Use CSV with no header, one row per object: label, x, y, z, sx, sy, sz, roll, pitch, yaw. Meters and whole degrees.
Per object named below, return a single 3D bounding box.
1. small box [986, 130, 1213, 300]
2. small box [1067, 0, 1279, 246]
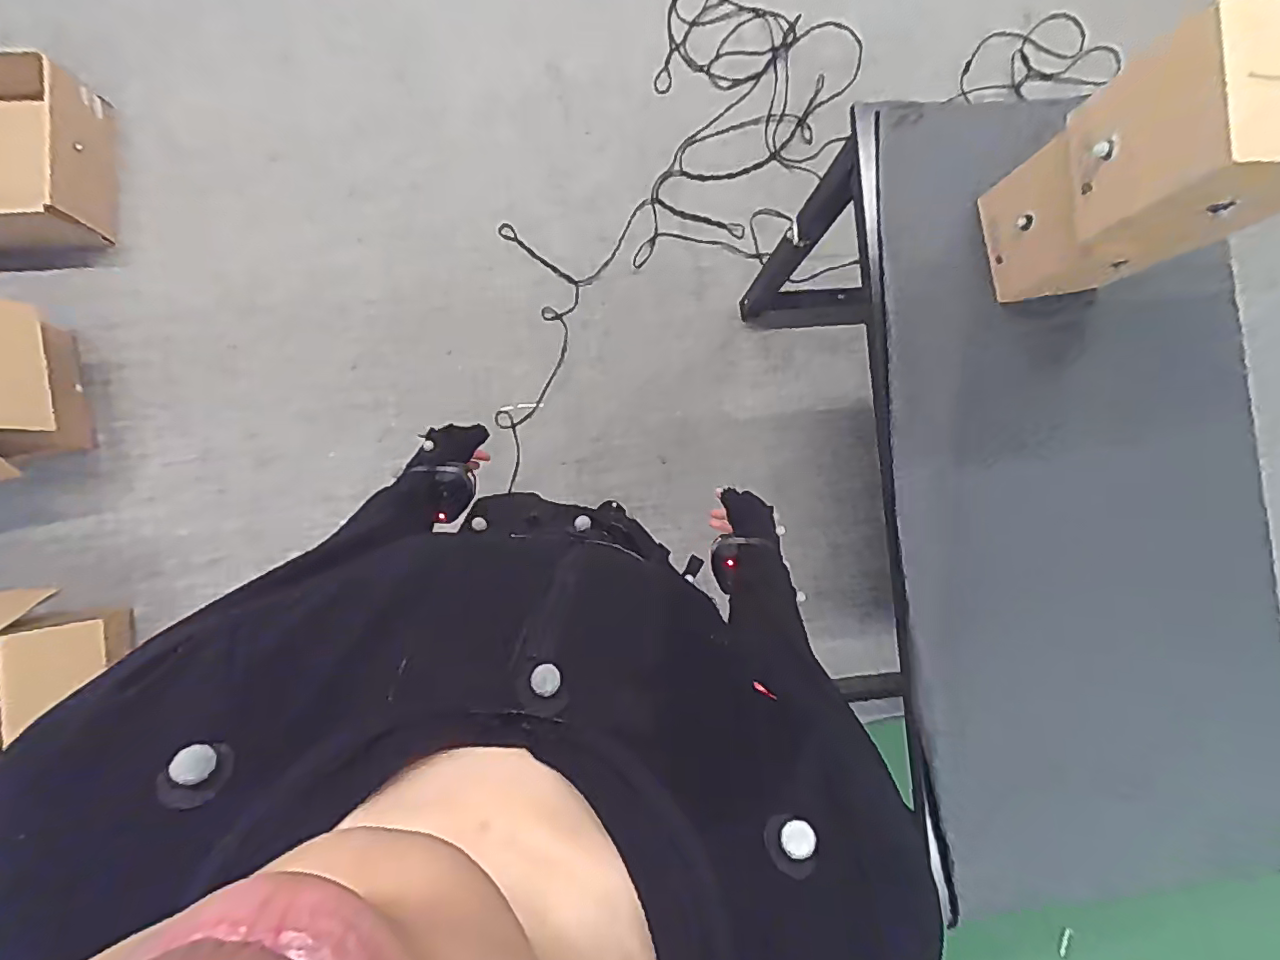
small box,0.619,-0.366,0.753,0.179,0.176,0.168,-10,89,-6
small box,0.618,-0.372,0.588,0.179,0.176,0.168,-2,88,-4
